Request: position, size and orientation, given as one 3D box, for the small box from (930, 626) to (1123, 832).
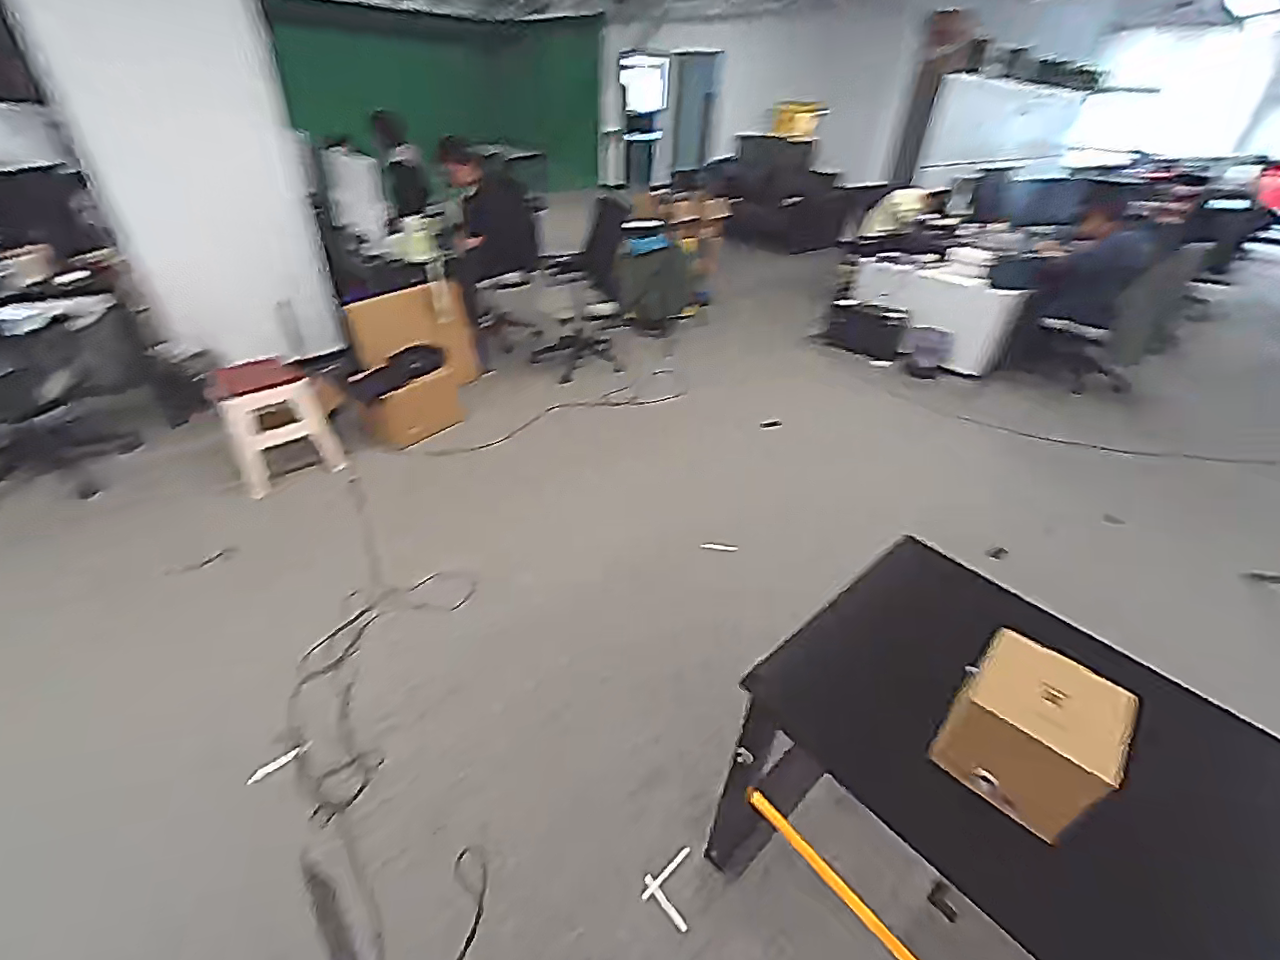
[{"bbox_3d":[0.557,0.360,0.794,0.168,0.176,0.179,29,43,32],"label":"small box"}]
